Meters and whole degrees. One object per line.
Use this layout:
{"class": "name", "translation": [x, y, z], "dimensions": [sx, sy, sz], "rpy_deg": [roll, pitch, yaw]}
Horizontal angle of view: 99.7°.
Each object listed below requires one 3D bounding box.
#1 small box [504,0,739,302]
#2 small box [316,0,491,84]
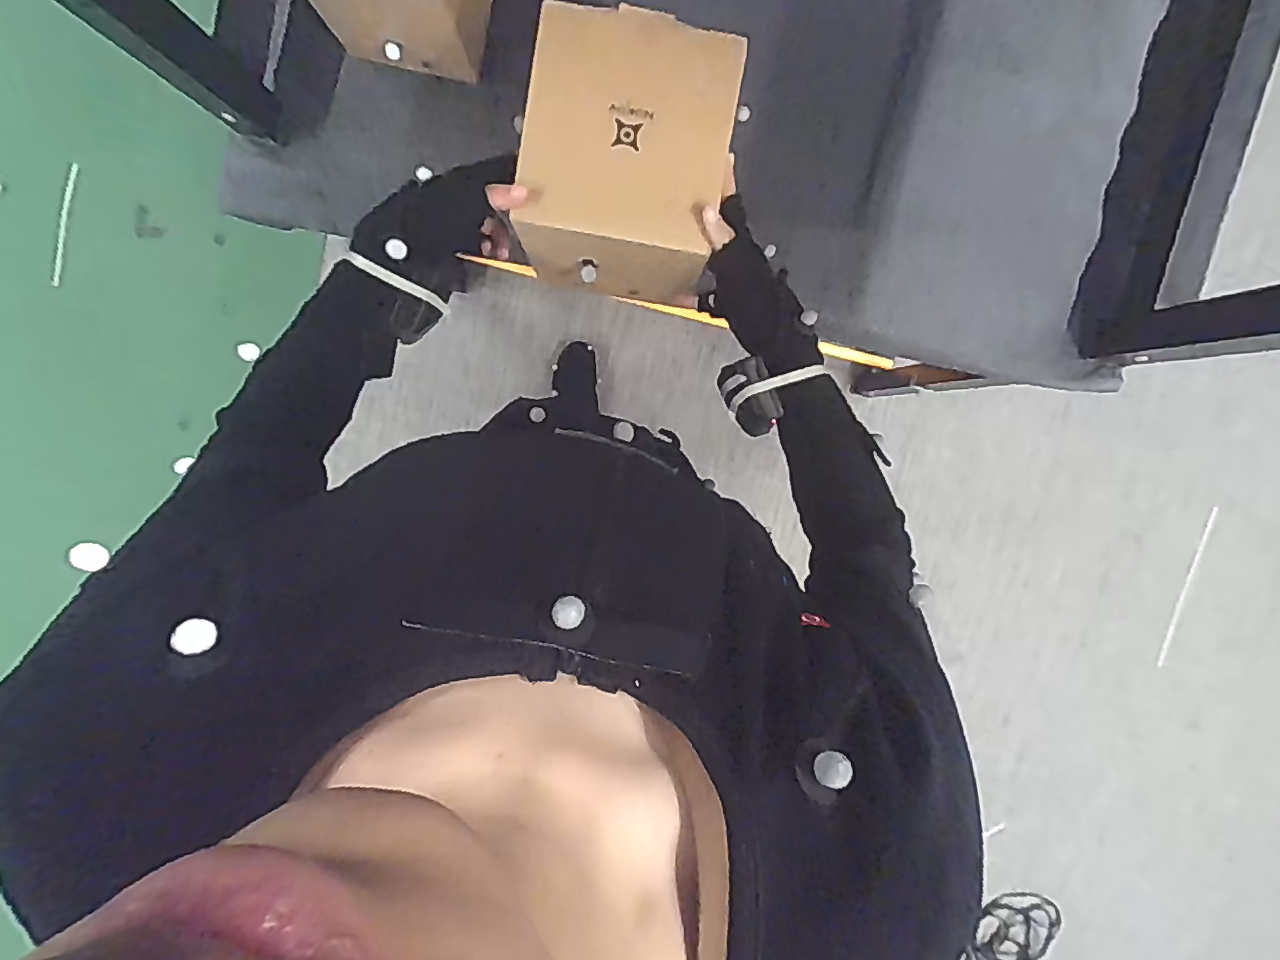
{"class": "small box", "translation": [-0.016, -0.282, 0.505], "dimensions": [0.168, 0.176, 0.179], "rpy_deg": [9, 91, -2]}
{"class": "small box", "translation": [-0.267, -0.590, 0.593], "dimensions": [0.168, 0.176, 0.179], "rpy_deg": [11, 96, -2]}
